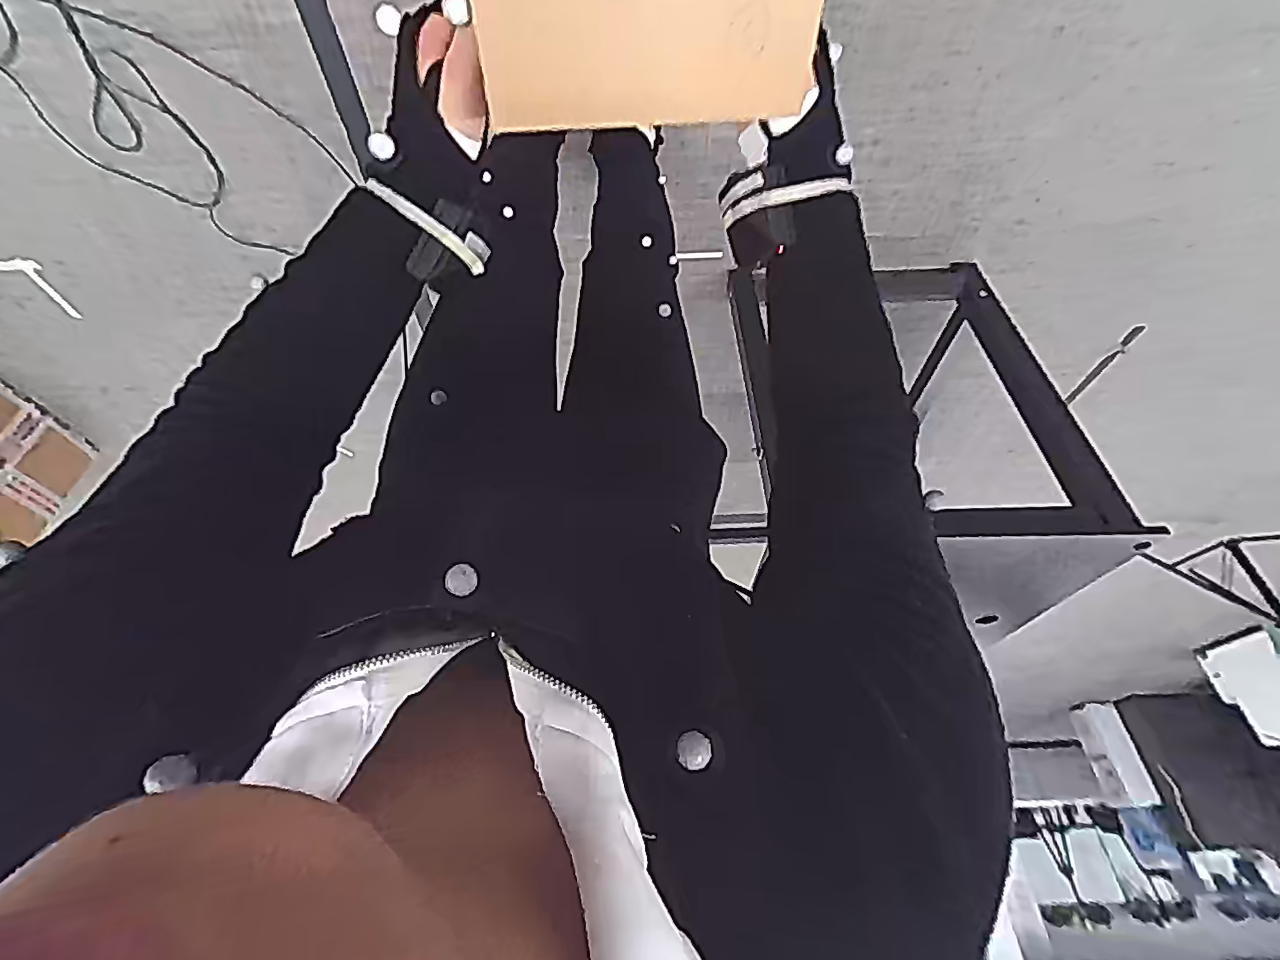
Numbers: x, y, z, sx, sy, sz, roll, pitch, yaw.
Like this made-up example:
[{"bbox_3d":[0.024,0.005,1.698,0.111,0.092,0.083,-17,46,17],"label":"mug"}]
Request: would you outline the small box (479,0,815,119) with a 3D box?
[{"bbox_3d":[-0.004,-0.317,0.283,0.168,0.176,0.179,-7,137,-4],"label":"small box"}]
